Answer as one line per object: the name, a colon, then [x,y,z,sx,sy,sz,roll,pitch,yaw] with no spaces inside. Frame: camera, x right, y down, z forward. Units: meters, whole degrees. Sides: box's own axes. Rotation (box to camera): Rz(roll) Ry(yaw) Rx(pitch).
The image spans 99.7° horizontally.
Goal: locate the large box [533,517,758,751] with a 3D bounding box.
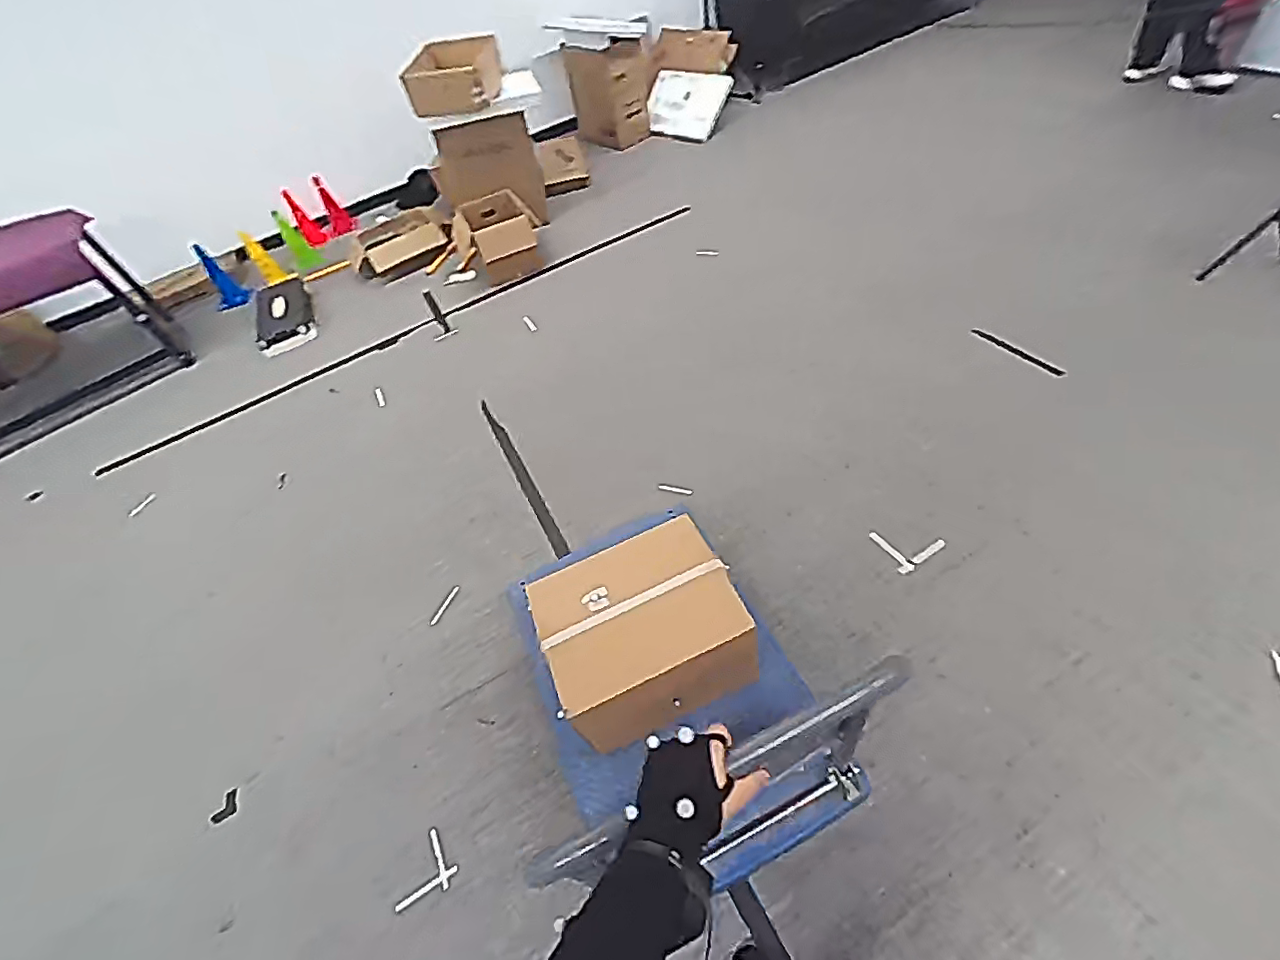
large box: [0.022,0.358,1.252,0.408,0.320,0.320,-24,50,-7]
